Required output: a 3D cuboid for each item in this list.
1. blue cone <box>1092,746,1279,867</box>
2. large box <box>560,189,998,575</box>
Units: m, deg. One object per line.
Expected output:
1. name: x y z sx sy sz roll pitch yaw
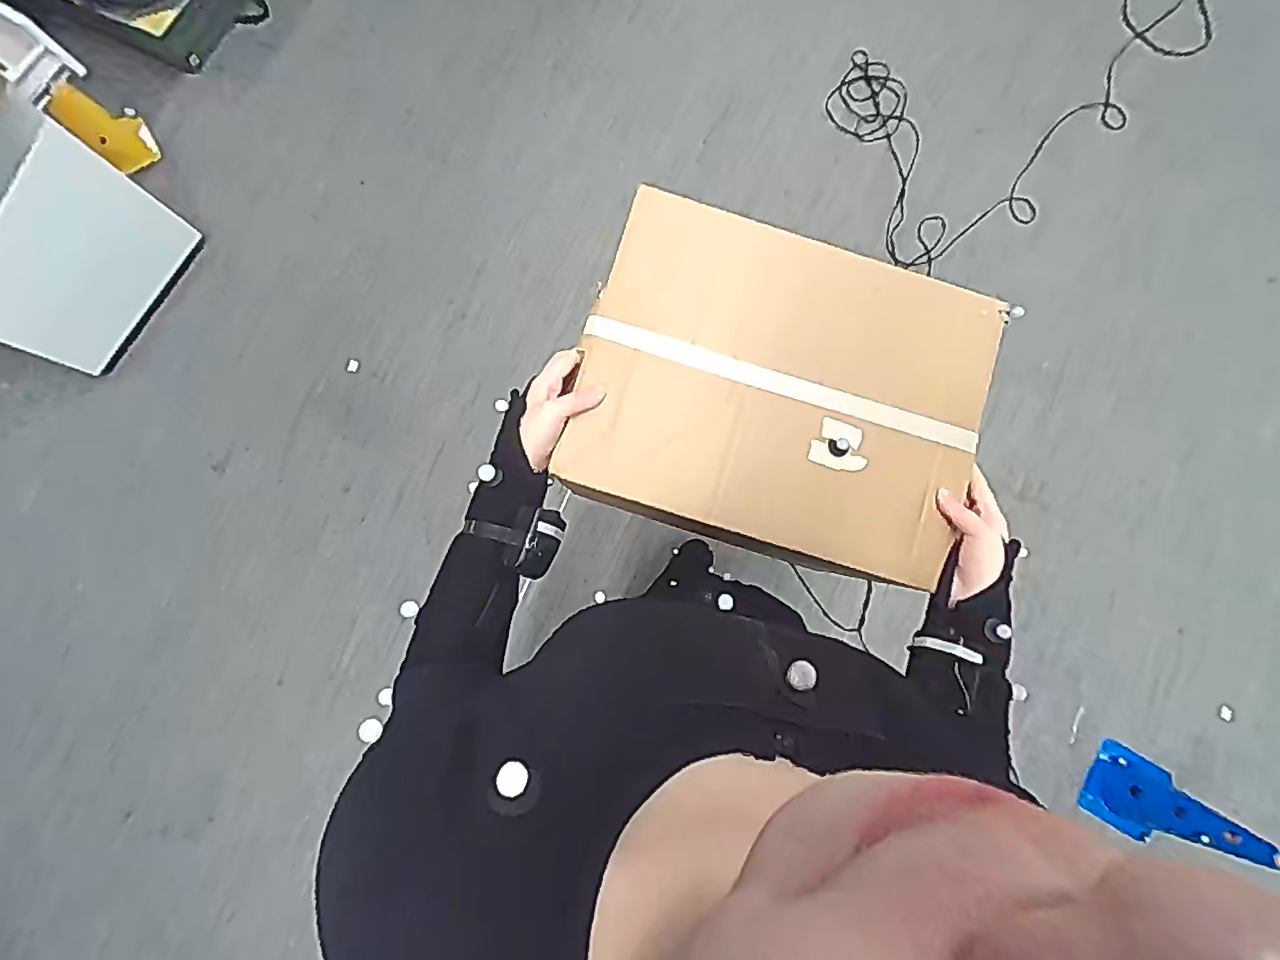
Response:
1. blue cone: 1.297 0.792 1.255 0.192 0.380 0.193 32 82 4
2. large box: 0.138 -0.089 0.696 0.408 0.320 0.320 17 85 -2
